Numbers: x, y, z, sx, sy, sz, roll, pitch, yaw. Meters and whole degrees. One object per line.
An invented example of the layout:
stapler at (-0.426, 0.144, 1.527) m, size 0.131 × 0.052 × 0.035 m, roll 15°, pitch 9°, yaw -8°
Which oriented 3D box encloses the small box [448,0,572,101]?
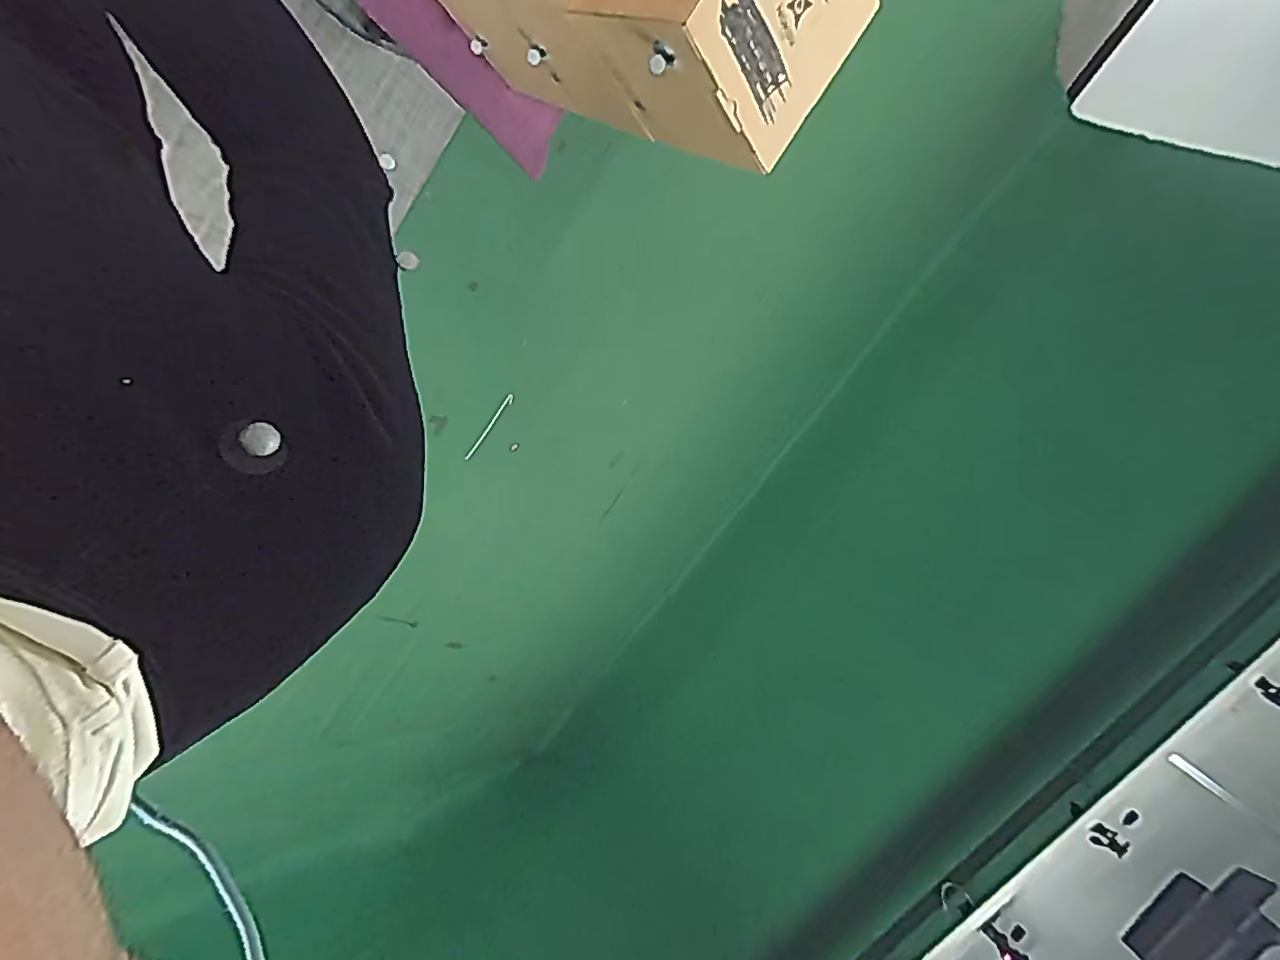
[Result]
small box at (-0.132, -0.619, 0.658) m, size 0.168 × 0.176 × 0.179 m, roll -52°, pitch 148°, yaw 8°

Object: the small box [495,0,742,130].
small box at (-0.028, -0.526, 0.574) m, size 0.179 × 0.176 × 0.168 m, roll -51°, pitch 147°, yaw 8°
